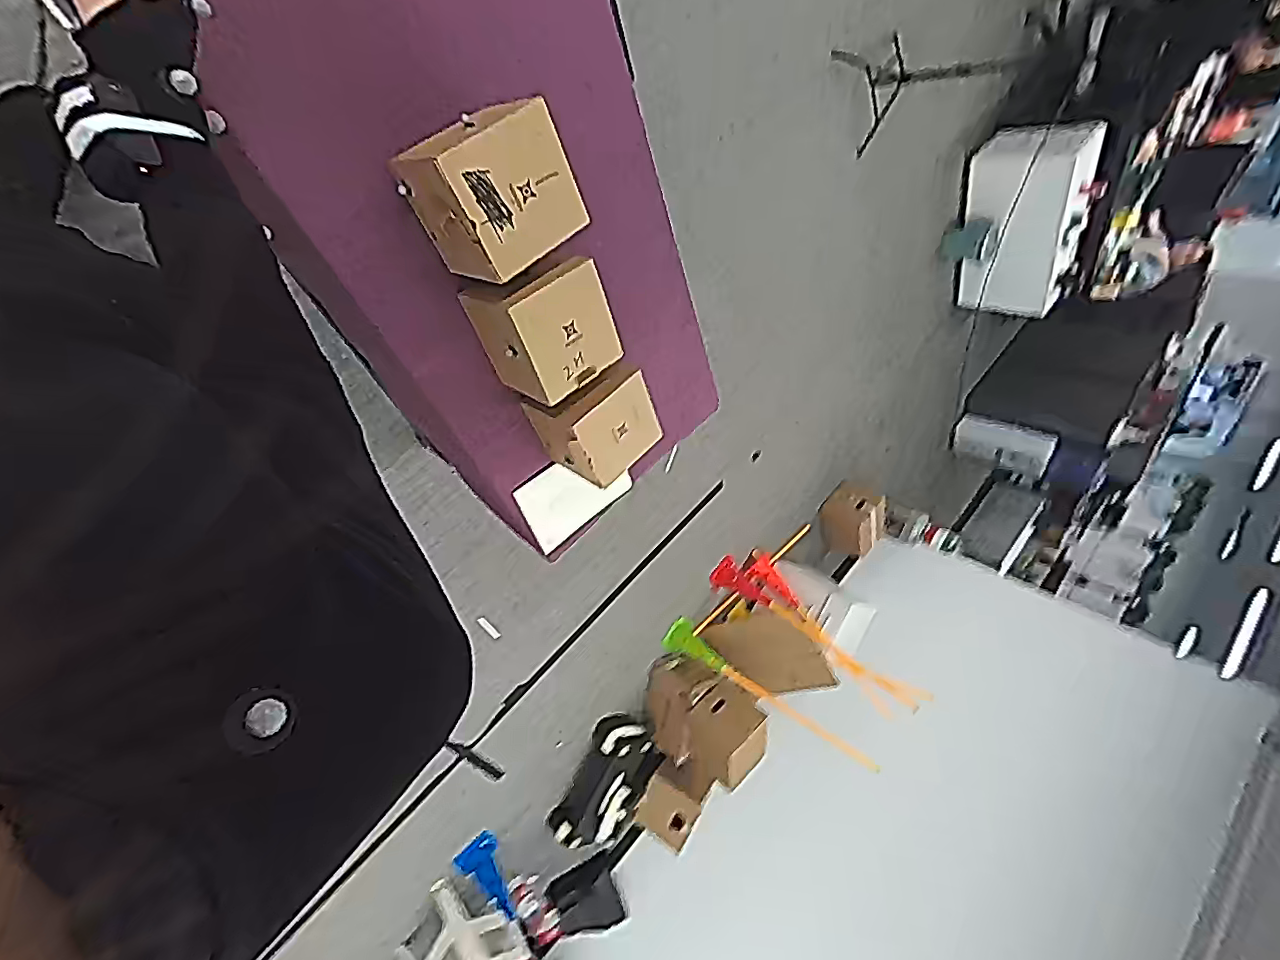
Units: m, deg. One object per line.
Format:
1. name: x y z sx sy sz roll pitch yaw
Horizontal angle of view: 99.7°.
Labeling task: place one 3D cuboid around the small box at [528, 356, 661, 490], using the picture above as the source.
1. small box: -0.092 -0.116 1.046 0.179 0.176 0.168 -43 136 -22
